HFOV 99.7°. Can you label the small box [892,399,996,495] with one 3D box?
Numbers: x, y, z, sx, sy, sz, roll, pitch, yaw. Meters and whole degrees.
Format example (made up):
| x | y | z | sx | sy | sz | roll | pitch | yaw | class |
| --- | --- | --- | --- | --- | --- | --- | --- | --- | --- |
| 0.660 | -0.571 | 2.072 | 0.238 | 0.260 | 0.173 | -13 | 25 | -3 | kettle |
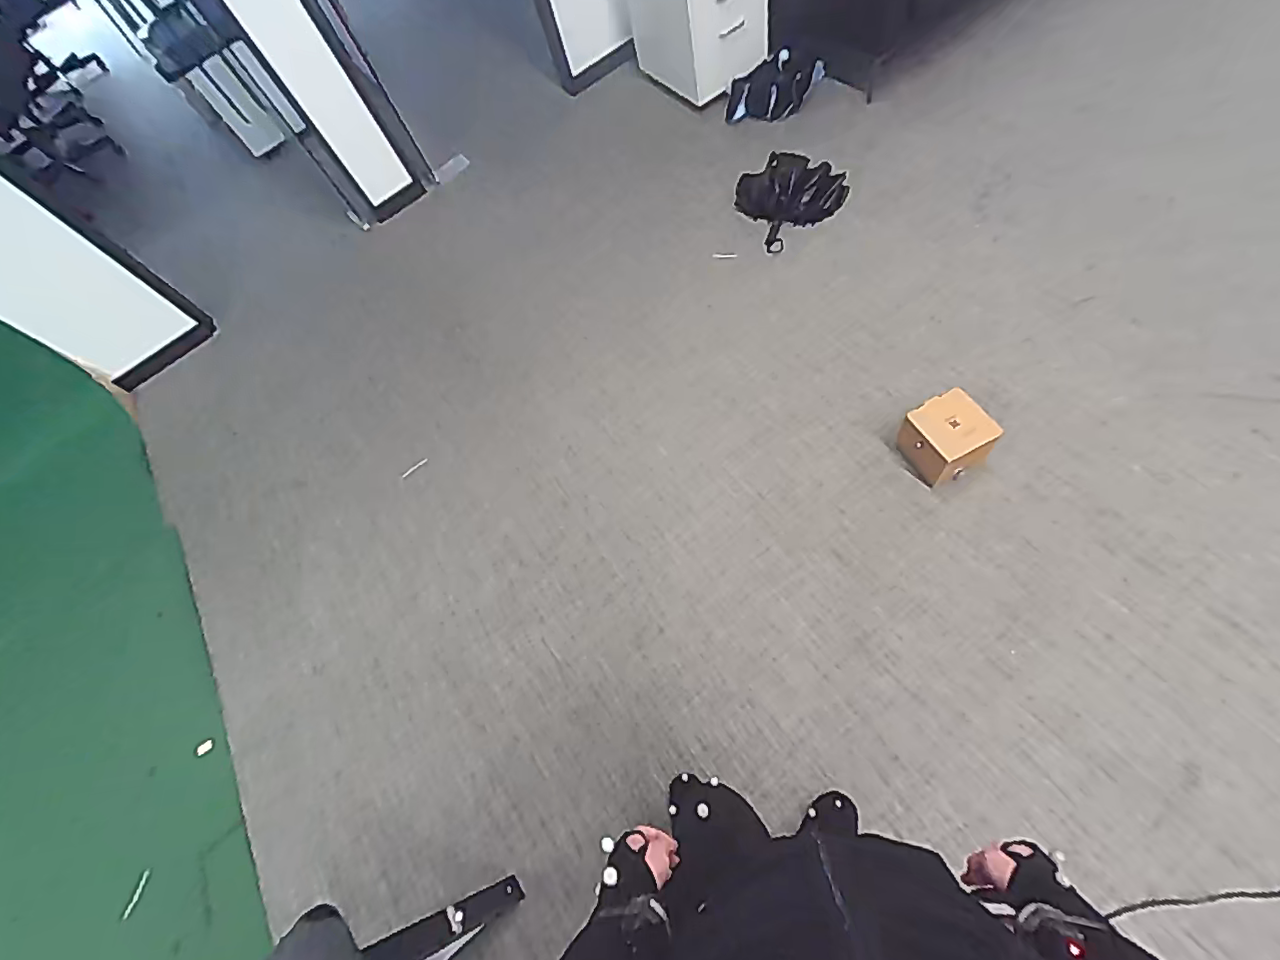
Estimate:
| x | y | z | sx | sy | sz | roll | pitch | yaw | class |
| --- | --- | --- | --- | --- | --- | --- | --- | --- | --- |
| 0.839 | -0.087 | 1.515 | 0.168 | 0.176 | 0.179 | -28 | 62 | -1 | small box |
